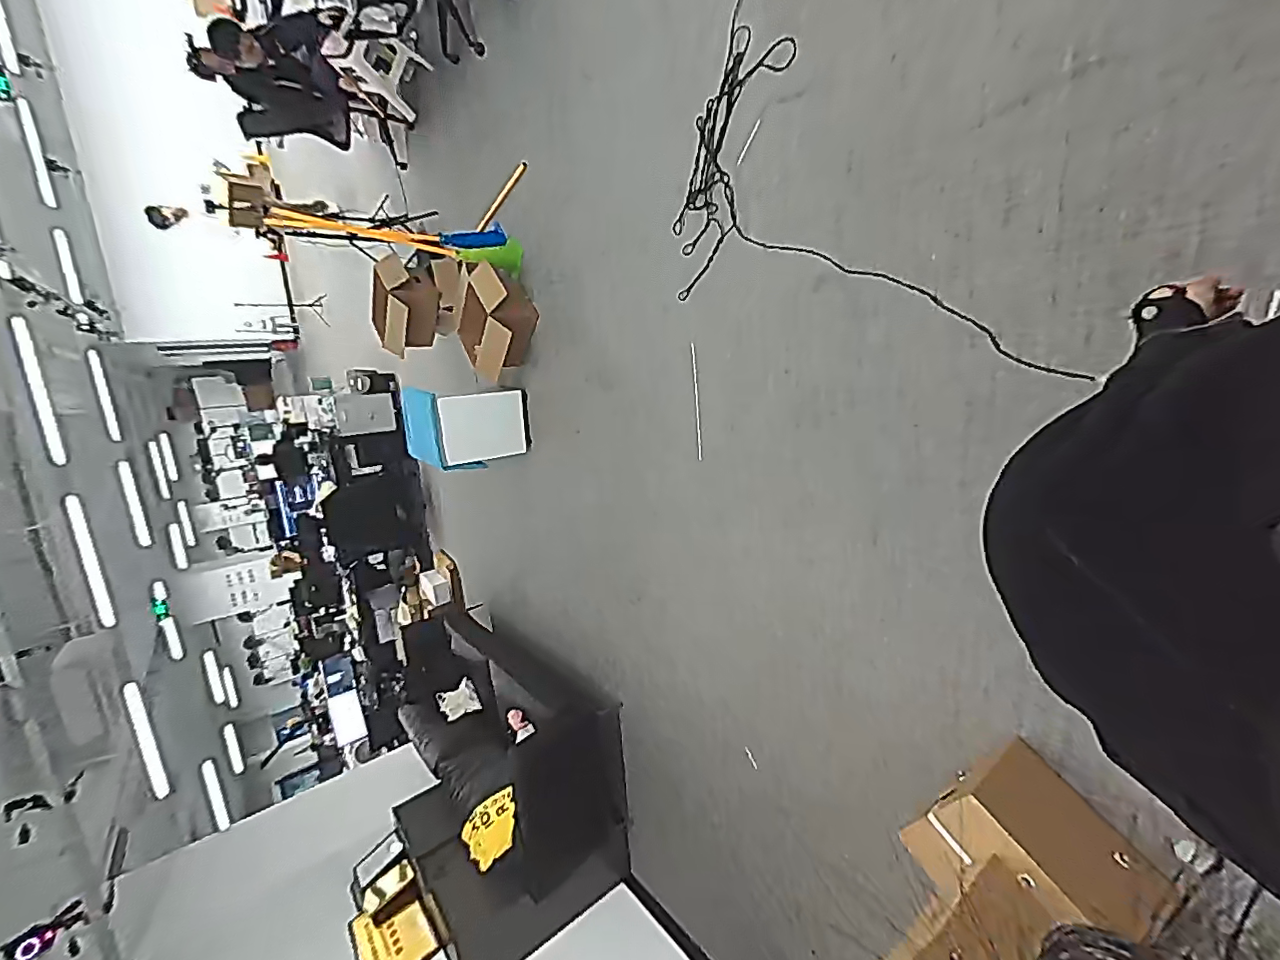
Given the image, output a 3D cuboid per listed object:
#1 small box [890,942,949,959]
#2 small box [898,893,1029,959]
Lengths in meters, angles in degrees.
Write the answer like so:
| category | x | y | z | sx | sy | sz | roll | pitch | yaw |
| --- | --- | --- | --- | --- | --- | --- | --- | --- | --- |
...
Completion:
| category | x | y | z | sx | sy | sz | roll | pitch | yaw |
| --- | --- | --- | --- | --- | --- | --- | --- | --- | --- |
| small box | 0.544 | 1.042 | 1.038 | 0.168 | 0.176 | 0.179 | 50 | 137 | 35 |
| small box | 0.683 | 1.019 | 1.124 | 0.179 | 0.176 | 0.168 | 49 | 137 | 35 |
